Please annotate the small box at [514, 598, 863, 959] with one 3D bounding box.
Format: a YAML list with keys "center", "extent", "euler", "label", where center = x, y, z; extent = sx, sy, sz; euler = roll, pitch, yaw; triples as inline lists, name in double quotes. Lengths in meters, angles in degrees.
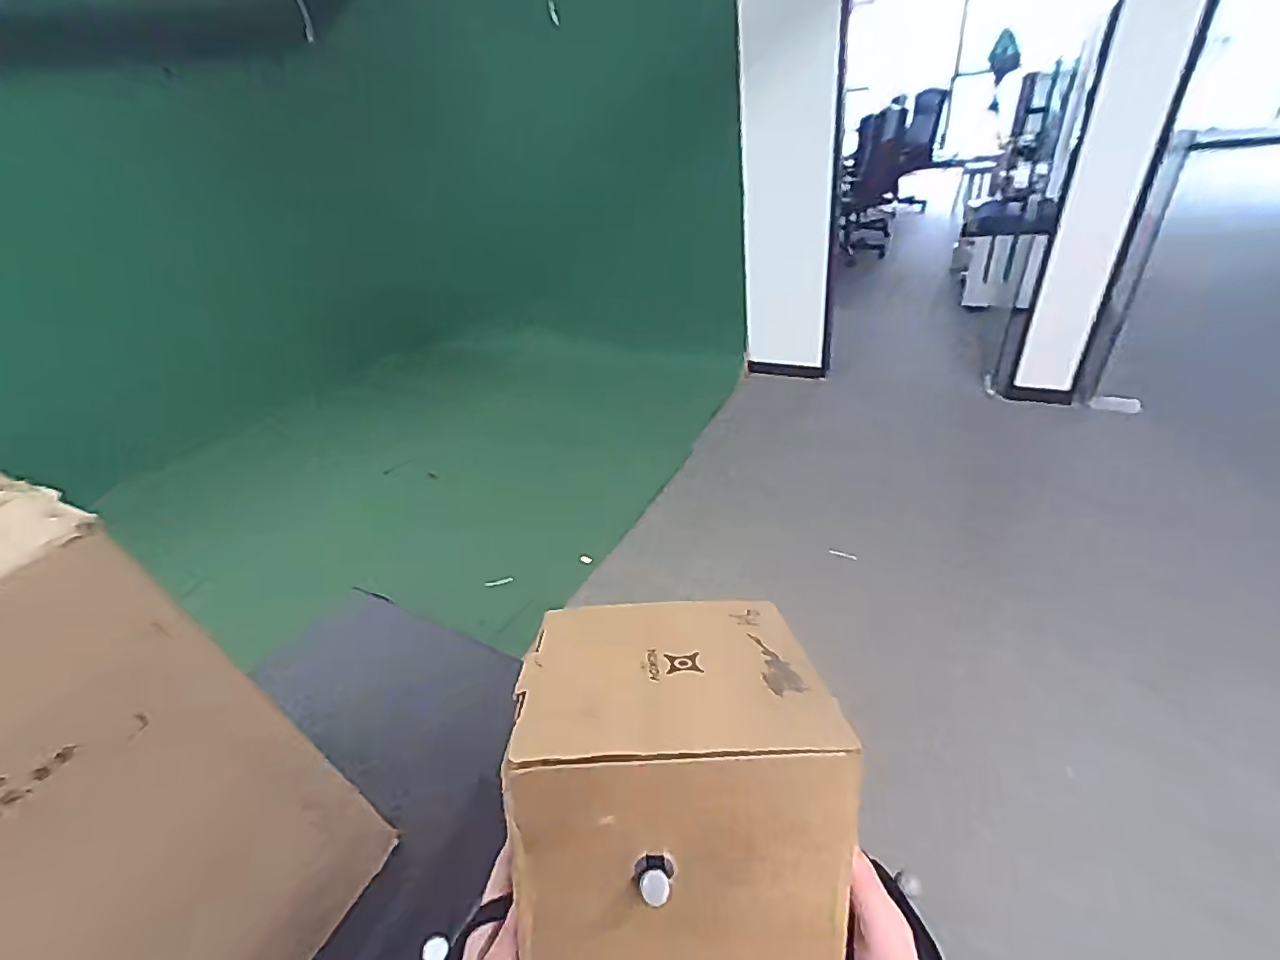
- center: [0.026, 0.193, 0.356]
  extent: [0.179, 0.176, 0.168]
  euler: [-2, 14, -2]
  label: "small box"
